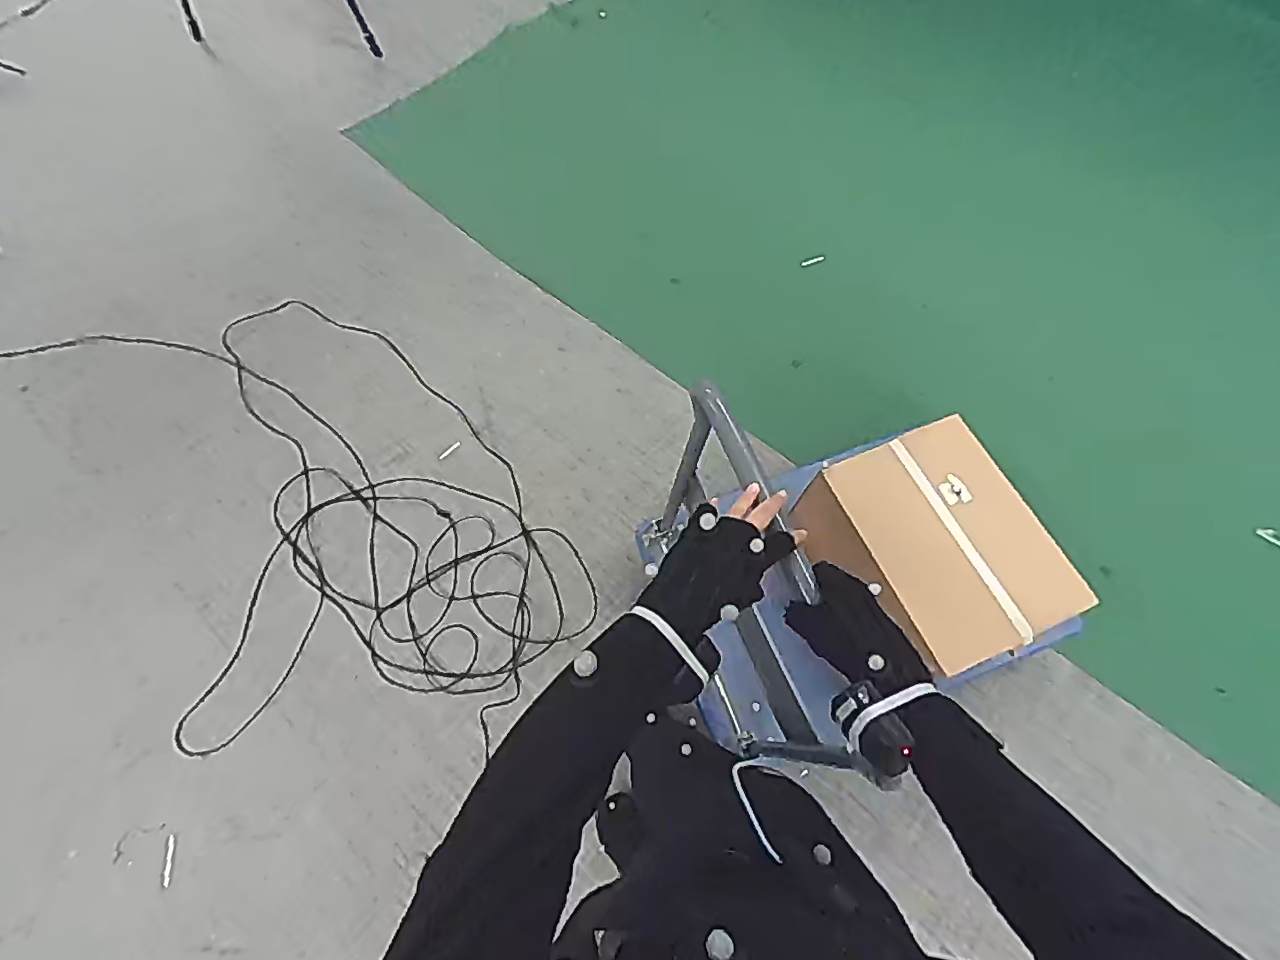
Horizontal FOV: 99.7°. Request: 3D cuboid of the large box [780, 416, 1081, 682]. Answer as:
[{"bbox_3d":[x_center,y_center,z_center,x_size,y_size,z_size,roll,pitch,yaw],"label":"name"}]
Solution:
[{"bbox_3d":[0.546,0.153,1.115,0.320,0.320,0.408,-21,67,-10],"label":"large box"}]
